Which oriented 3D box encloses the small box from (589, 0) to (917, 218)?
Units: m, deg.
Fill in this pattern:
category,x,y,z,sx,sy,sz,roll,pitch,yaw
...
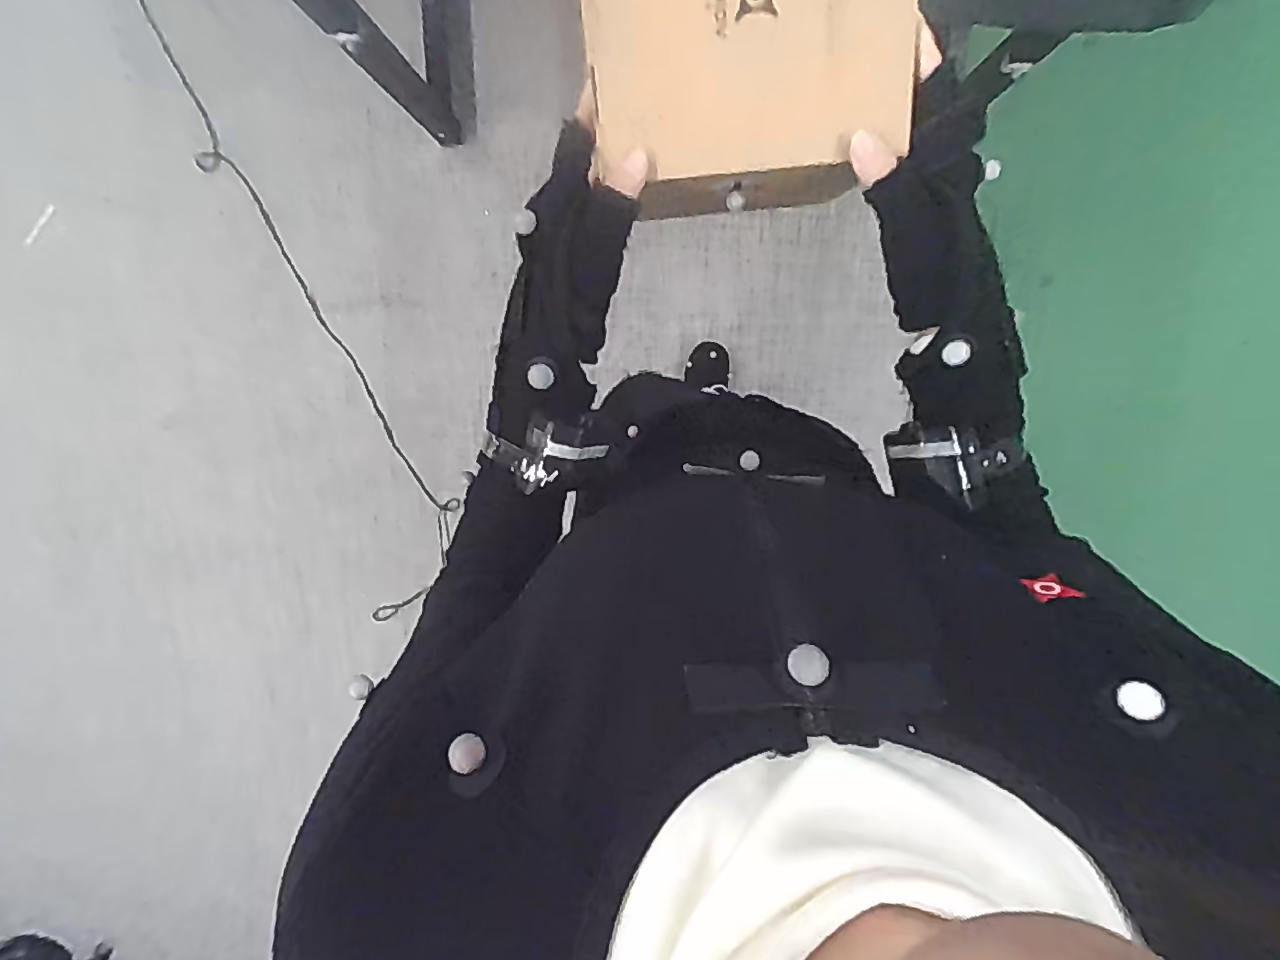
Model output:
category,x,y,z,sx,sy,sz,roll,pitch,yaw
small box,0.063,-0.283,0.363,0.179,0.176,0.168,-5,109,4
